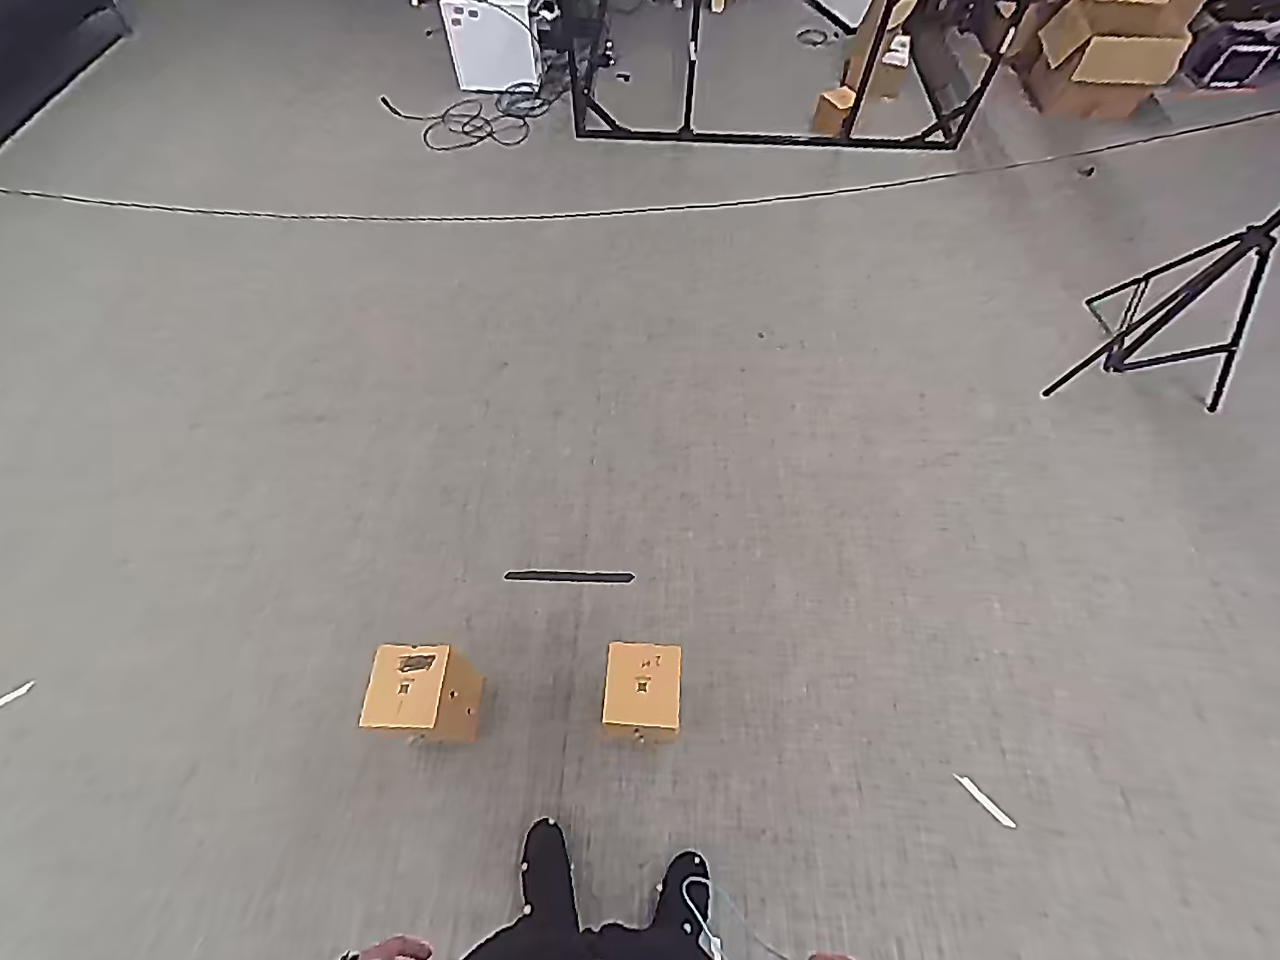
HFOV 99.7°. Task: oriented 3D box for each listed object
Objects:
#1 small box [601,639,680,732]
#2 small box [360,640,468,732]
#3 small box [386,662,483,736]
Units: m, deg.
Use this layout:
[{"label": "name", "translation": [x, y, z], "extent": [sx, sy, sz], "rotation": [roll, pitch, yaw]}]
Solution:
[{"label": "small box", "translation": [0.004, 0.486, 1.266], "extent": [0.168, 0.176, 0.179], "rotation": [5, 60, 2]}, {"label": "small box", "translation": [-0.514, 0.484, 1.263], "extent": [0.168, 0.176, 0.179], "rotation": [2, 61, 1]}, {"label": "small box", "translation": [-0.521, 0.568, 1.404], "extent": [0.179, 0.176, 0.168], "rotation": [1, 61, 1]}]
